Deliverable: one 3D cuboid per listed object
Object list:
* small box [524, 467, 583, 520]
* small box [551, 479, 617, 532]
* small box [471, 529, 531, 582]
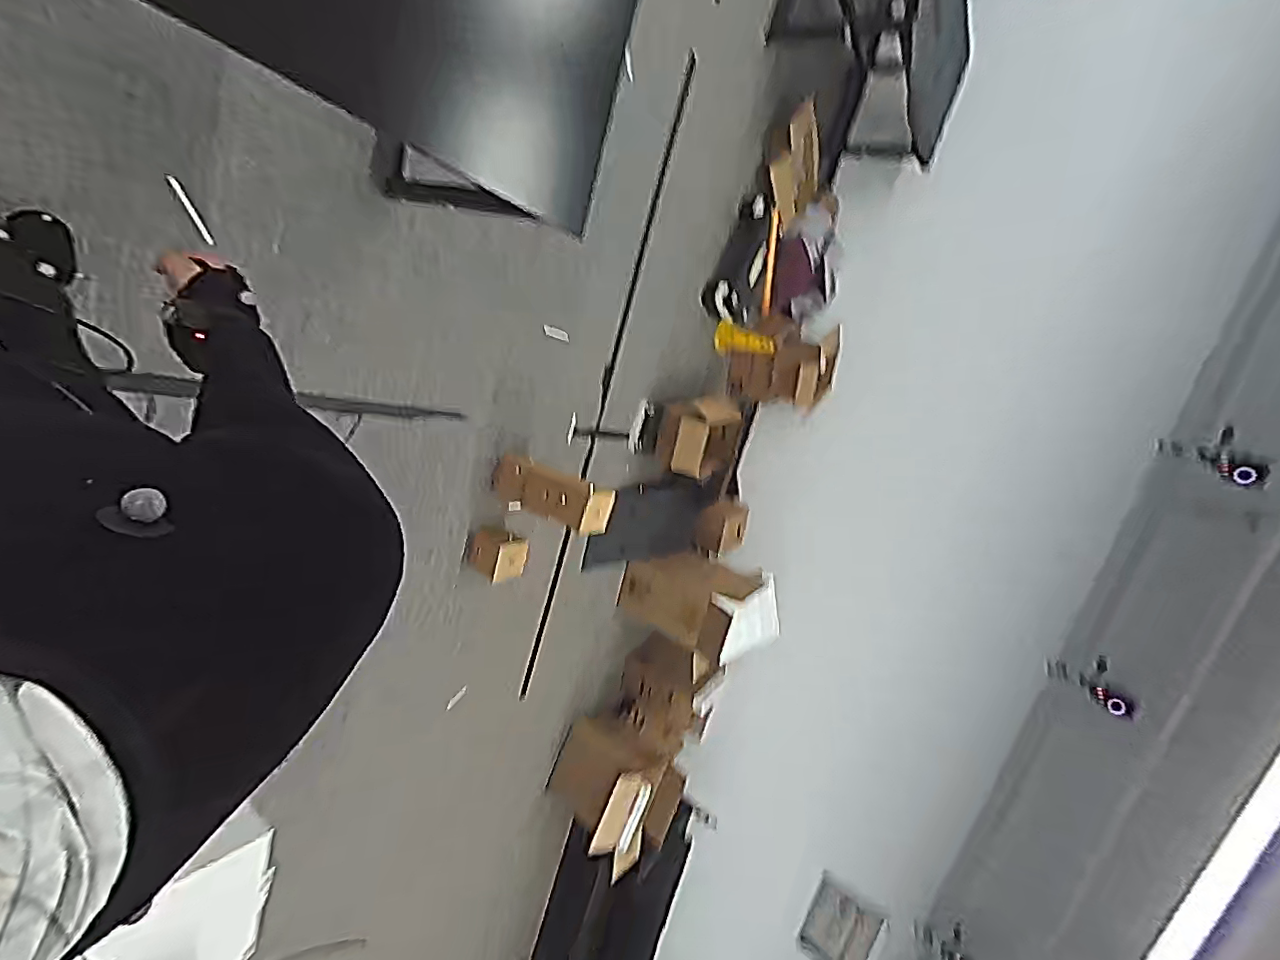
[{"bbox_3d":[-0.363,0.052,2.265,0.168,0.176,0.179,-3,114,-58],"label":"small box"},{"bbox_3d":[-0.227,0.098,2.189,0.179,0.176,0.168,1,110,-58],"label":"small box"},{"bbox_3d":[-0.615,0.326,2.386,0.179,0.176,0.168,-5,113,-56],"label":"small box"}]
